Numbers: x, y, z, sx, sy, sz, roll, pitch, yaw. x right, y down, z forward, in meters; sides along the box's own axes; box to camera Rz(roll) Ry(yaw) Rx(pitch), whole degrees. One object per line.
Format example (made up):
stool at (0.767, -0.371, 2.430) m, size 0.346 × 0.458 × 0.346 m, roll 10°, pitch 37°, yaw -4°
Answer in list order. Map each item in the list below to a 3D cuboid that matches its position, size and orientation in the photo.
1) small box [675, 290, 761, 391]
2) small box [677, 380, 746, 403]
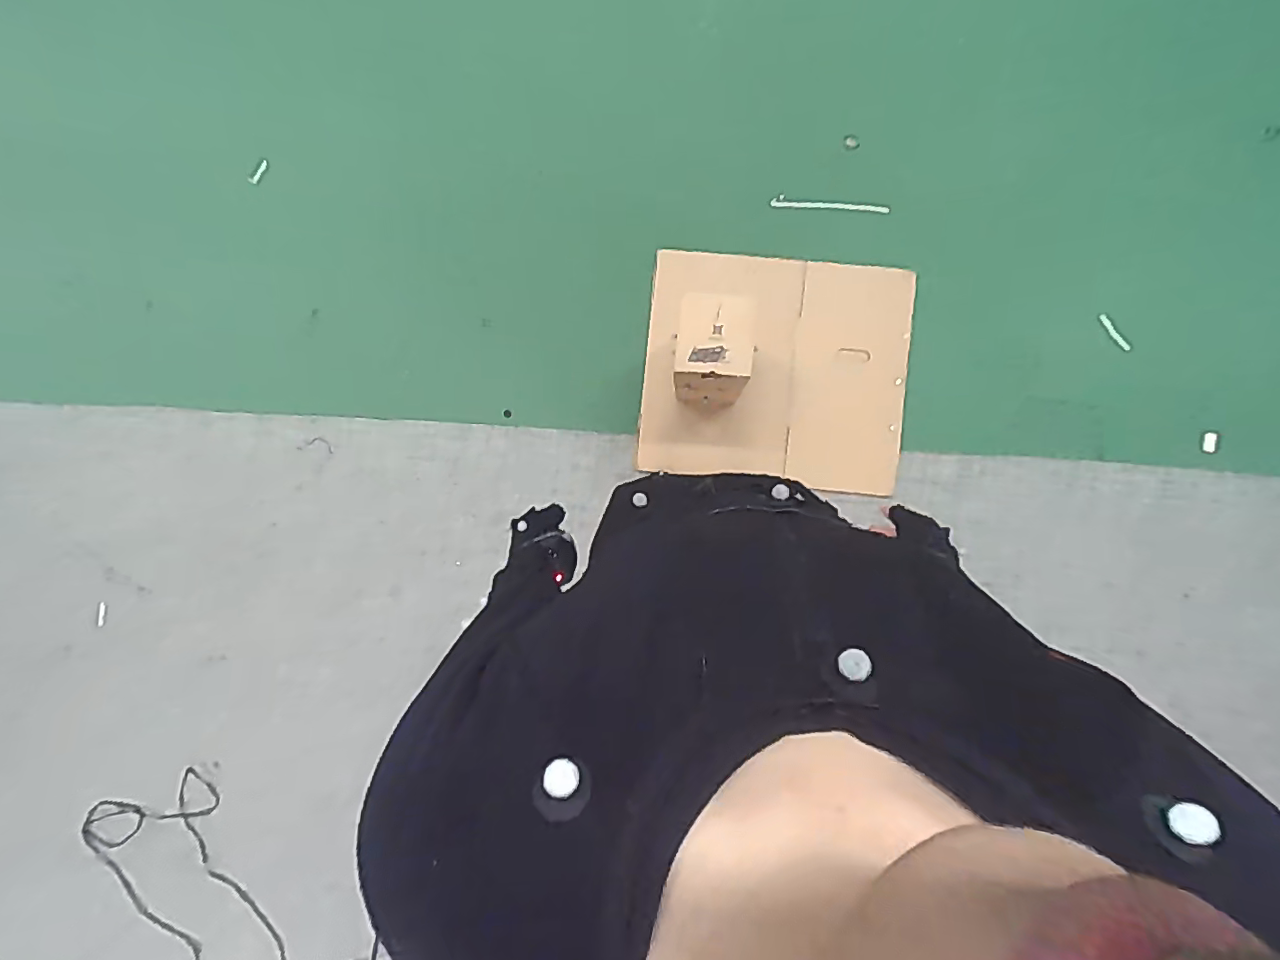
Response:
small box at (0.170, -0.304, 1.212) m, size 0.168 × 0.176 × 0.179 m, roll 6°, pitch 89°, yaw 4°
small box at (0.183, -0.301, 1.375) m, size 0.168 × 0.176 × 0.179 m, roll 5°, pitch 90°, yaw 5°
